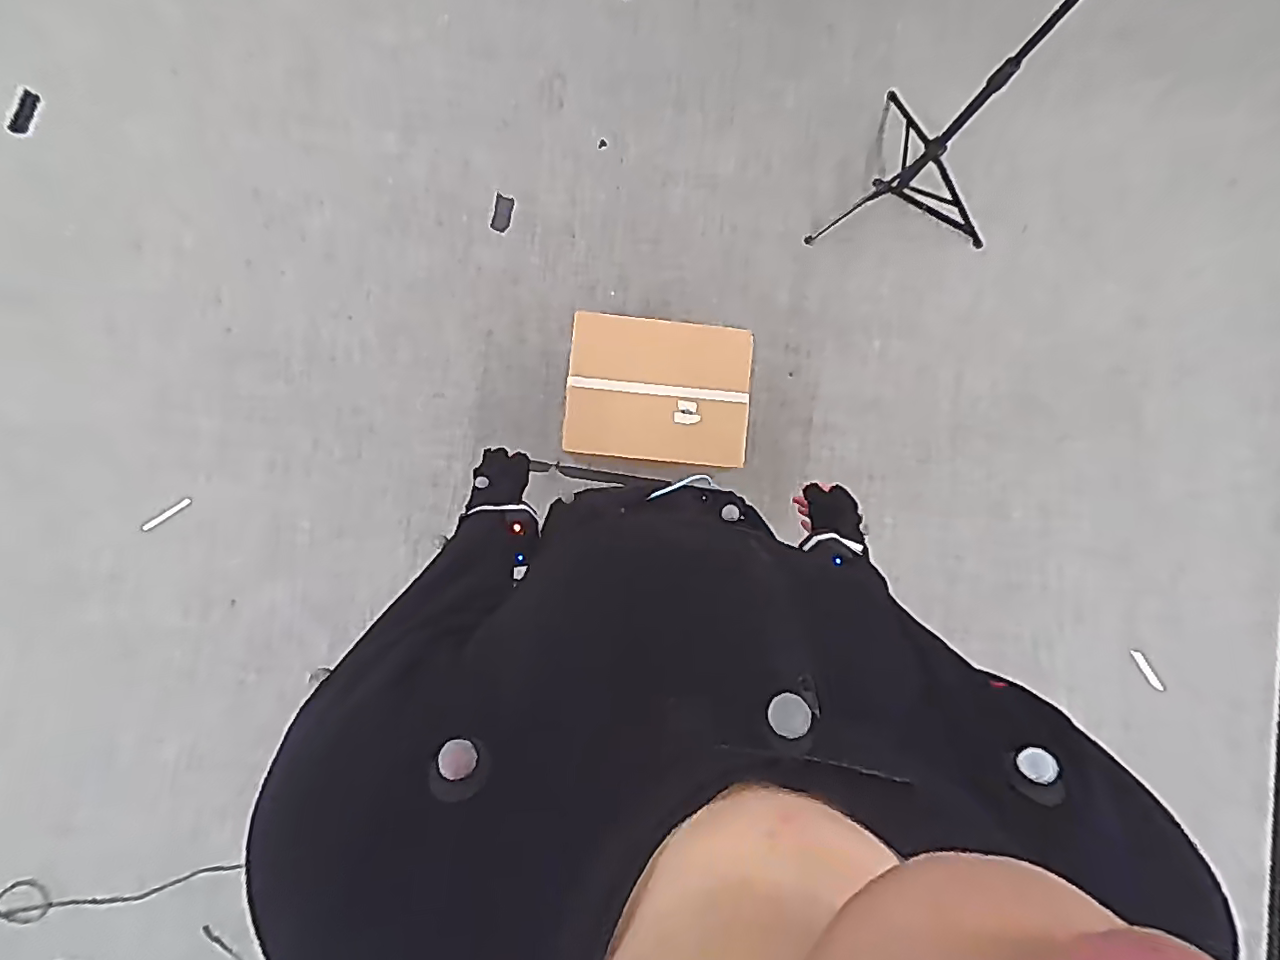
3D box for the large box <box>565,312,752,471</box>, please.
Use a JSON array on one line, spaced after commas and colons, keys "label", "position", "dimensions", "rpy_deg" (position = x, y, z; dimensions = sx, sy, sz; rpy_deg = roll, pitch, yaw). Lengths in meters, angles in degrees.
[{"label": "large box", "position": [0.033, -0.199, 1.354], "dimensions": [0.408, 0.320, 0.320], "rpy_deg": [6, 88, -3]}]
